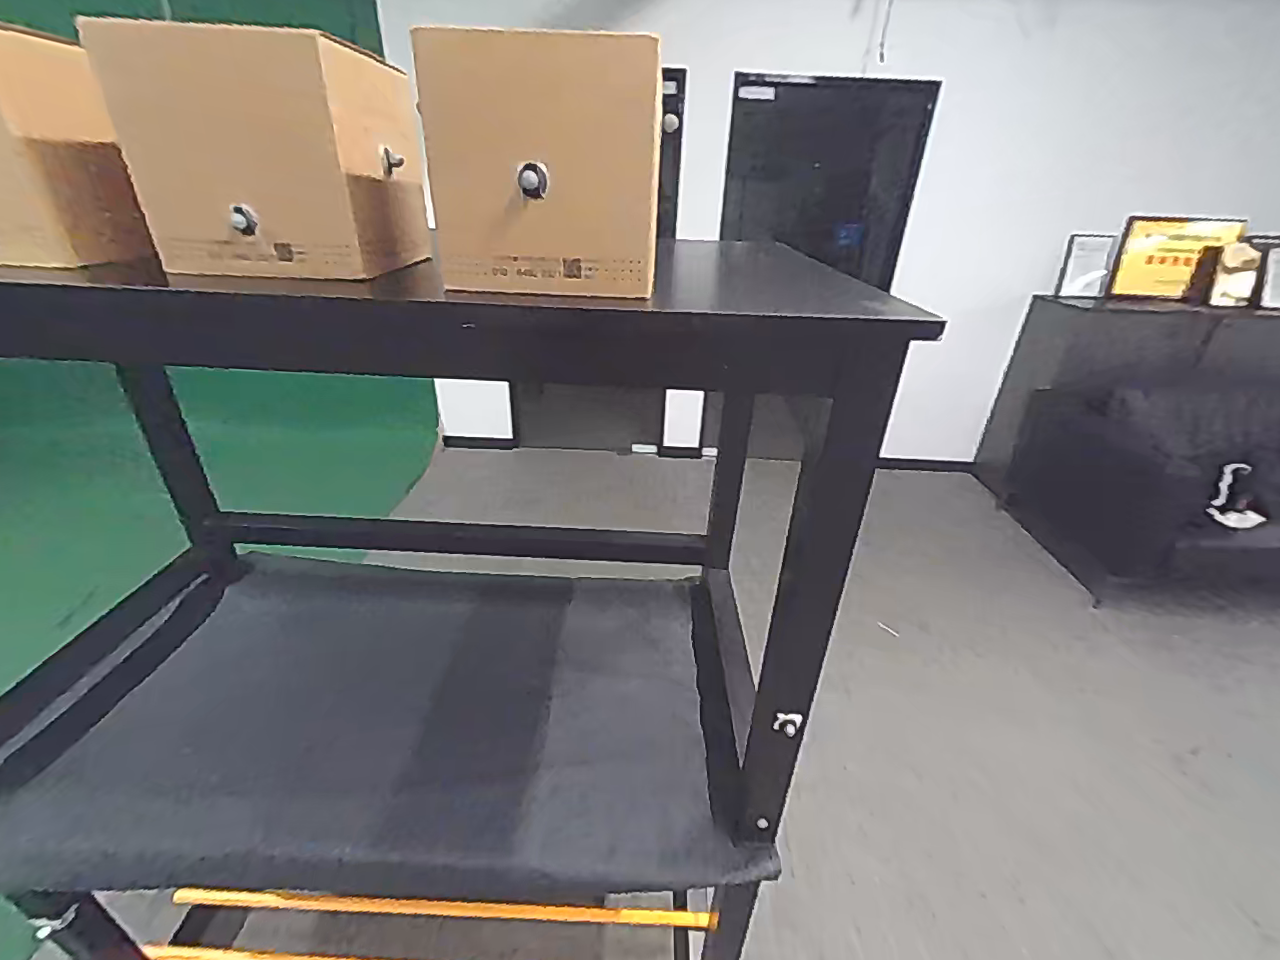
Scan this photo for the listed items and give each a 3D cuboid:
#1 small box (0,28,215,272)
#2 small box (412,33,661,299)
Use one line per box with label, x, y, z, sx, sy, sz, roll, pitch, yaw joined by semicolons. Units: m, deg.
small box;-0.542;-0.289;0.491;0.168;0.176;0.179;3;28;2
small box;-0.069;-0.258;0.467;0.168;0.176;0.179;4;28;1
